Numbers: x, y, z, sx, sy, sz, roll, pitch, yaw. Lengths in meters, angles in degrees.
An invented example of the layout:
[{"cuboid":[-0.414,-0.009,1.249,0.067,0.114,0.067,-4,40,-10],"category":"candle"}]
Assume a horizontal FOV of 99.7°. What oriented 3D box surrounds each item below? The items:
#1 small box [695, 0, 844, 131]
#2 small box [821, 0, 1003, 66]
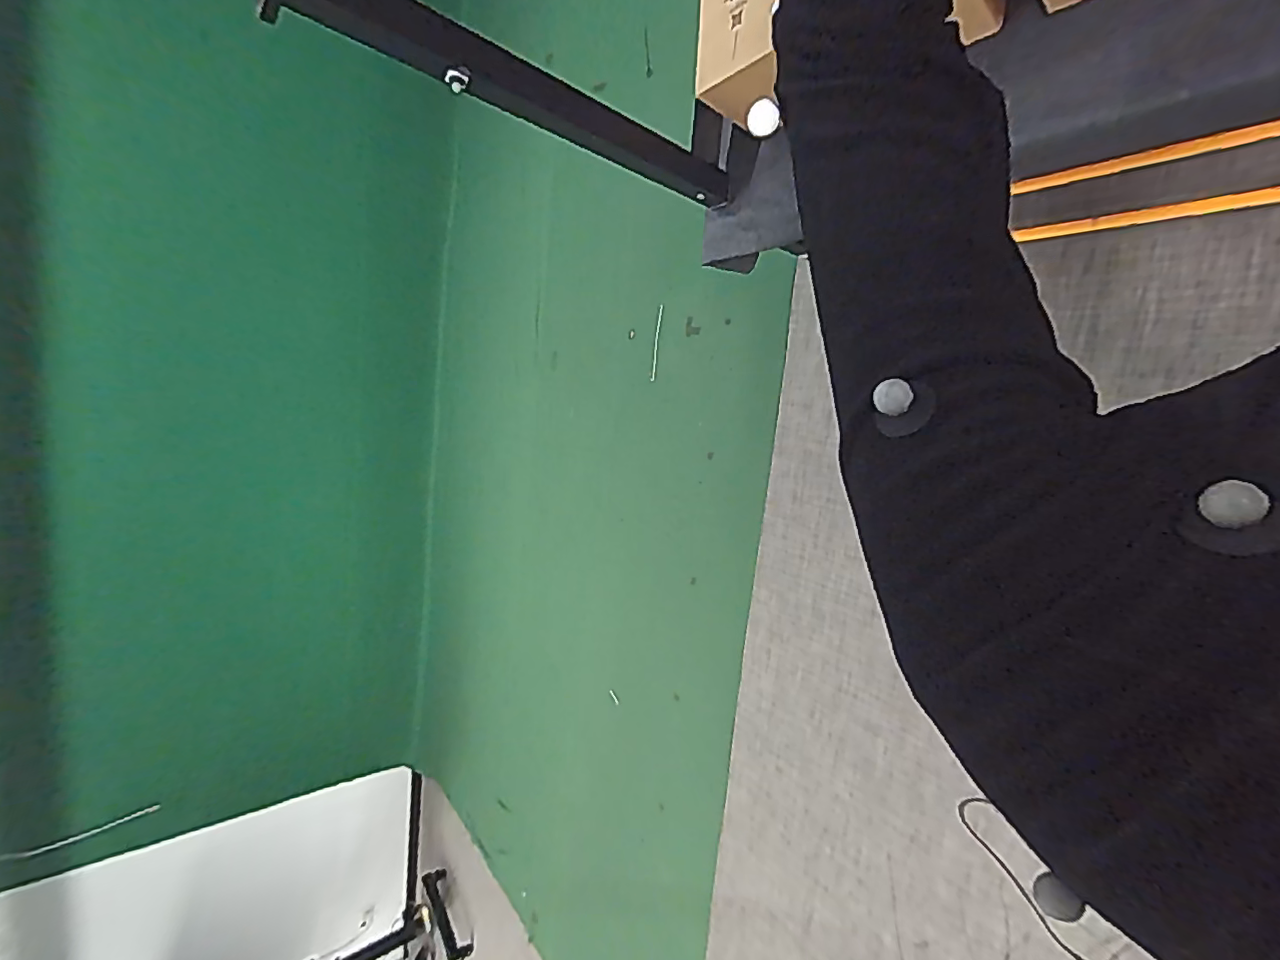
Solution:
[{"cuboid":[0.211,-0.705,0.861,0.168,0.176,0.179,10,97,50],"category":"small box"},{"cuboid":[0.358,-0.677,0.691,0.168,0.176,0.179,13,99,49],"category":"small box"}]
